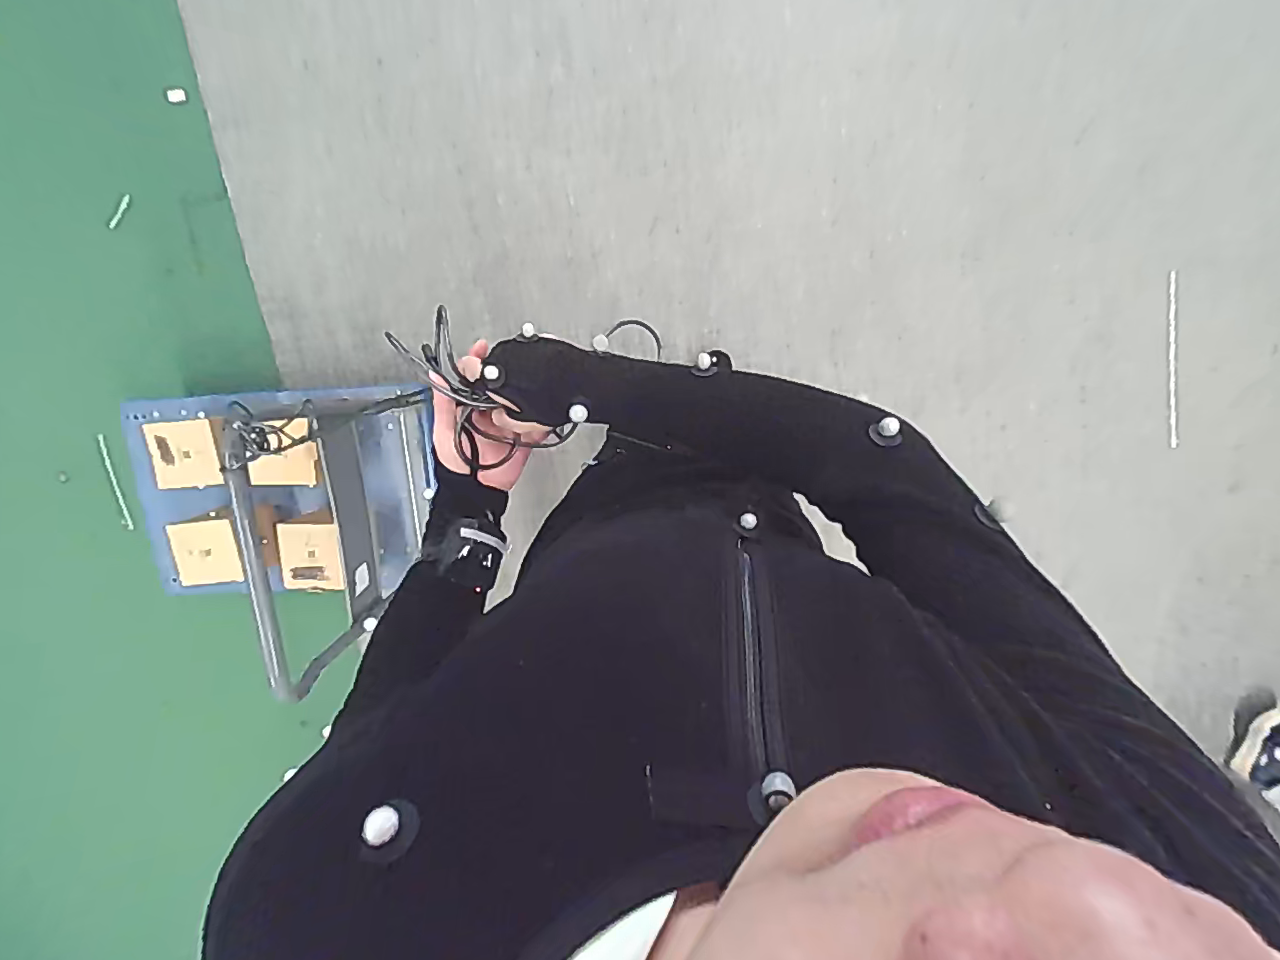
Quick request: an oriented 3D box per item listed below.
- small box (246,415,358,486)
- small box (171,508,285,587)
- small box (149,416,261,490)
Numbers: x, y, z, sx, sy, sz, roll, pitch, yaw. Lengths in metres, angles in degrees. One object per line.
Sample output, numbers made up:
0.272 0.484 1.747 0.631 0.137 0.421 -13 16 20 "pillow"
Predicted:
-0.870 -0.079 1.404 0.179 0.176 0.168 -1 101 3 "small box"
-1.101 0.176 1.466 0.179 0.176 0.168 -5 100 4 "small box"
-1.116 -0.075 1.418 0.179 0.176 0.168 -4 101 3 "small box"
